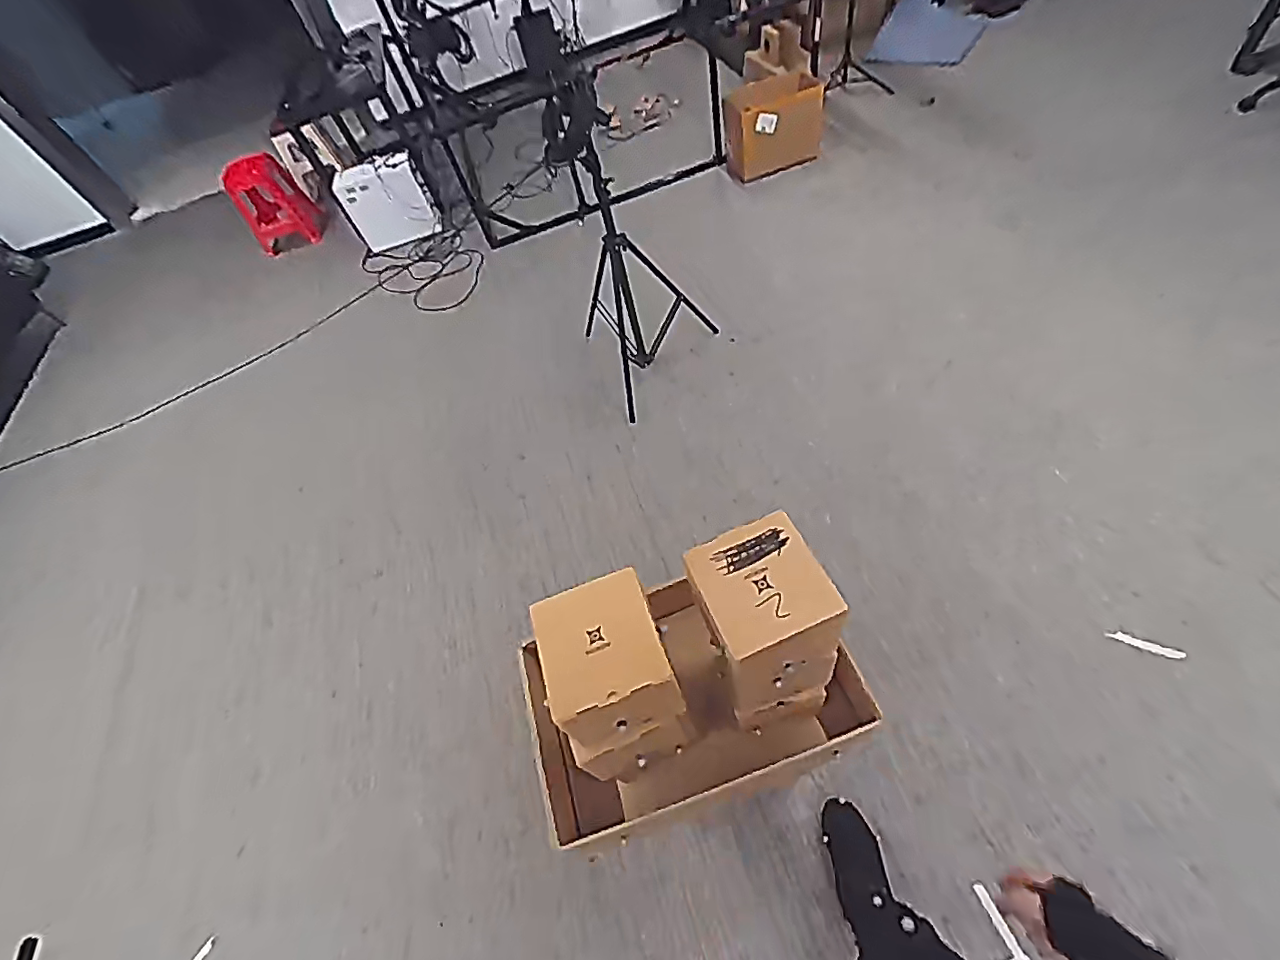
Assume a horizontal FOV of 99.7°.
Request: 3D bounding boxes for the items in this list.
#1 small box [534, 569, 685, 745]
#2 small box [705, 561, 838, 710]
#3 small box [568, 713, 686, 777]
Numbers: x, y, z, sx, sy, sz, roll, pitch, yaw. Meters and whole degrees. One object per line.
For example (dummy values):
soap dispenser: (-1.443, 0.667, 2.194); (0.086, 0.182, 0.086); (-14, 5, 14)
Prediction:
small box: (-0.042, 0.268, 0.809); (0.168, 0.176, 0.179); (-21, 54, -4)
small box: (0.221, 0.272, 0.938); (0.168, 0.176, 0.179); (-18, 53, 0)
small box: (-0.033, 0.381, 0.929); (0.168, 0.176, 0.179); (-24, 54, -5)
